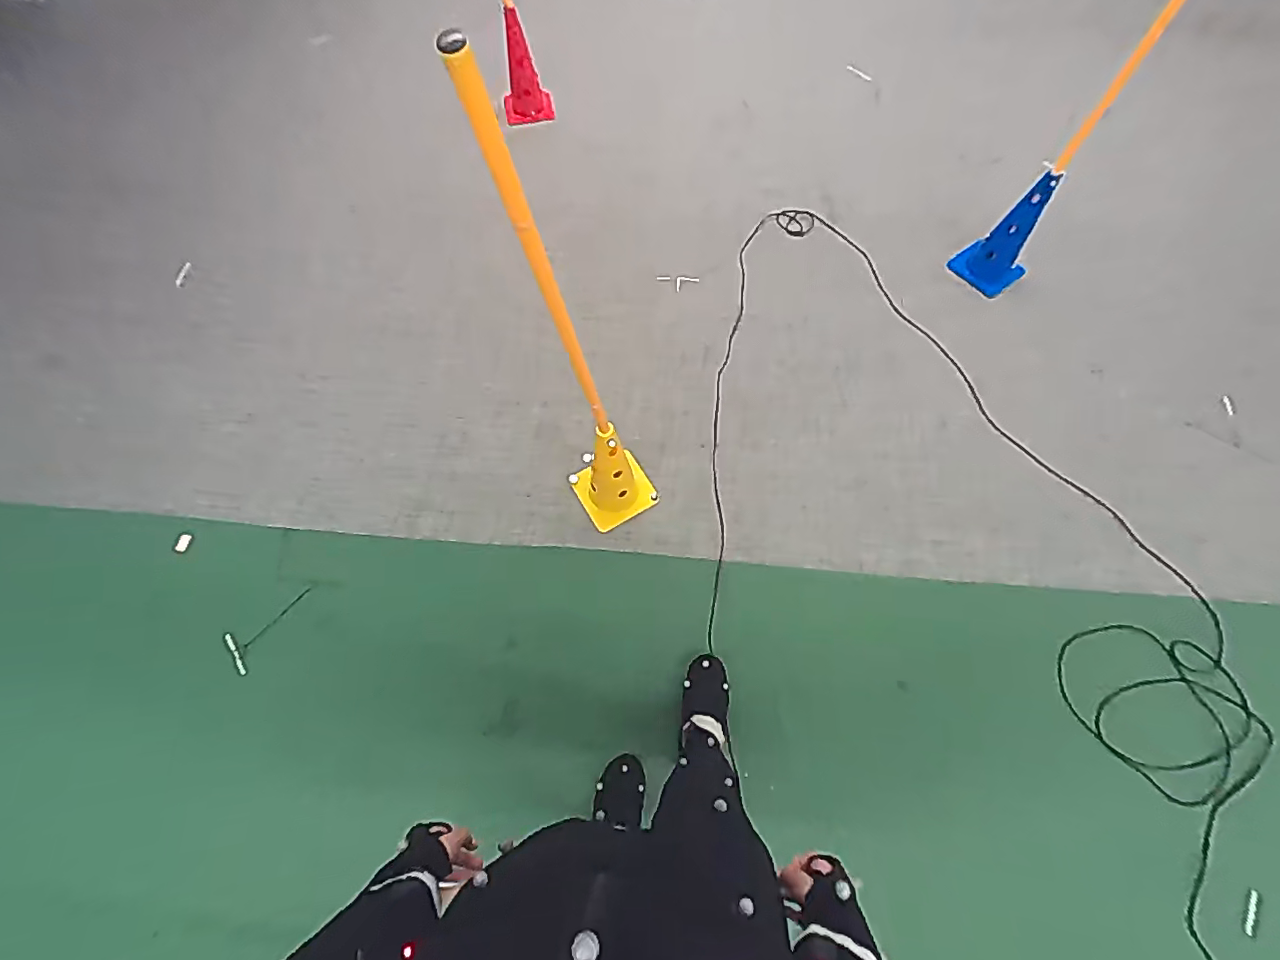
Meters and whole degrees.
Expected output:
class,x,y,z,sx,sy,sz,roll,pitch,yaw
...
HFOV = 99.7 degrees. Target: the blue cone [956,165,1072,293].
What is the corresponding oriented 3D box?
class,x,y,z,sx,sy,sz,roll,pitch,yaw
blue cone,1.196,-0.804,1.697,0.193,0.380,0.192,-37,70,-16
